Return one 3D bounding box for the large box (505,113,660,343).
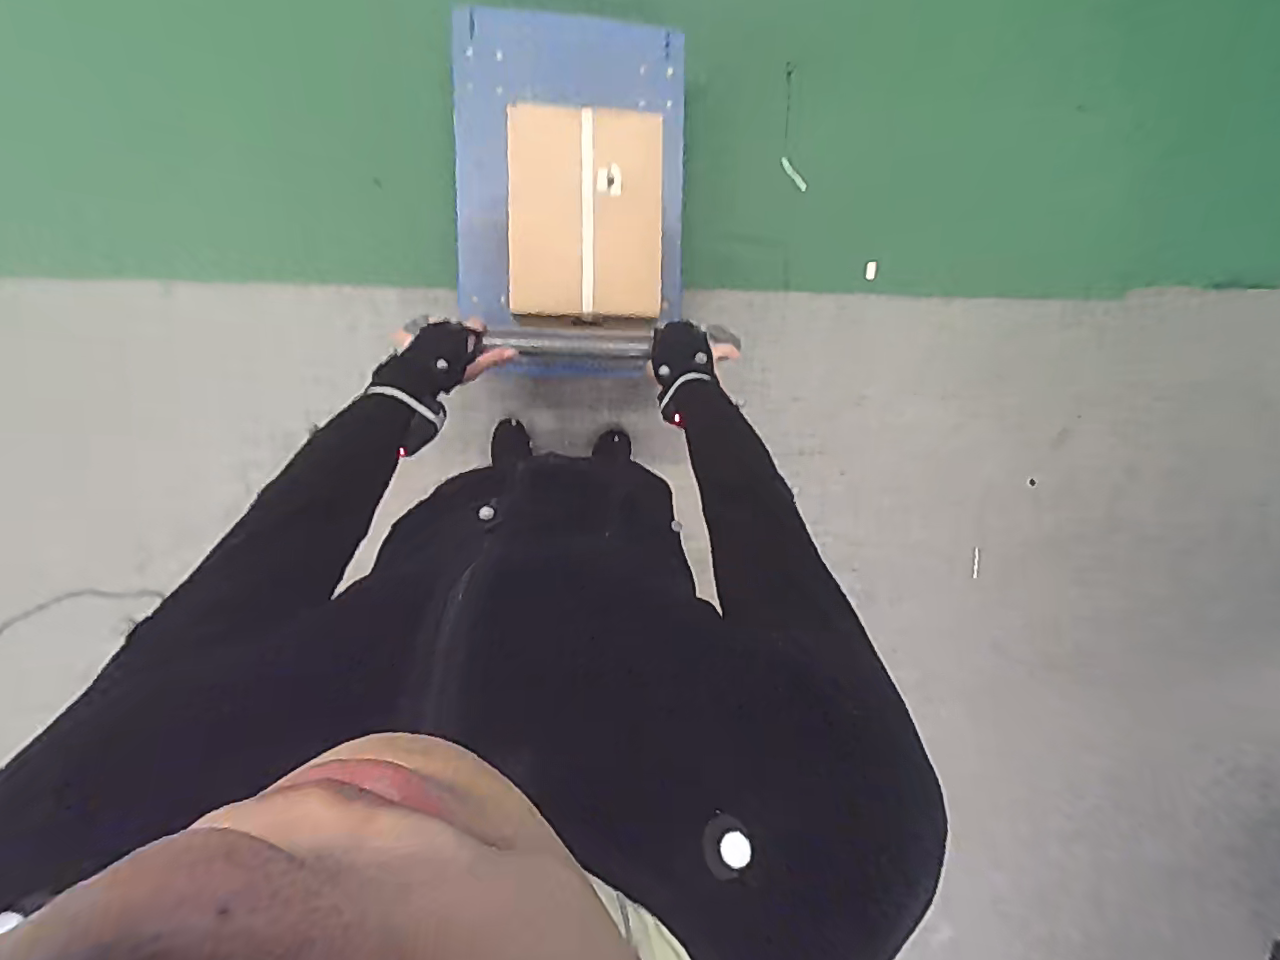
[{"bbox_3d":[-0.131,-0.545,1.253,0.320,0.320,0.408,-1,95,-8],"label":"large box"}]
